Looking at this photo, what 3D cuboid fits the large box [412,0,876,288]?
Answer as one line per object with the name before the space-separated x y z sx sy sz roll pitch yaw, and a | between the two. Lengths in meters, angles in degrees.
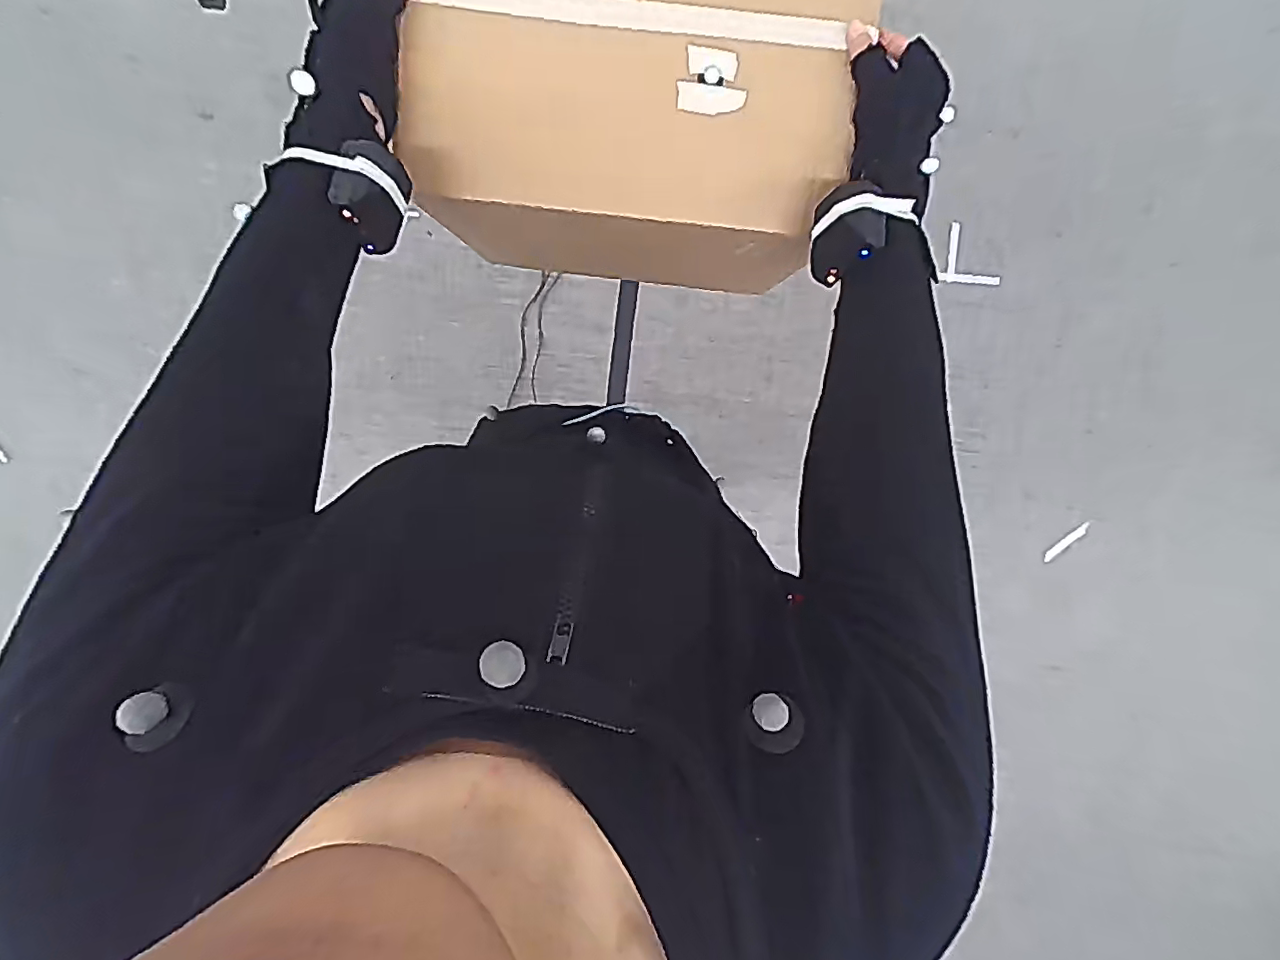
large box | -0.001 -0.418 0.614 0.408 0.320 0.320 5 101 -2
